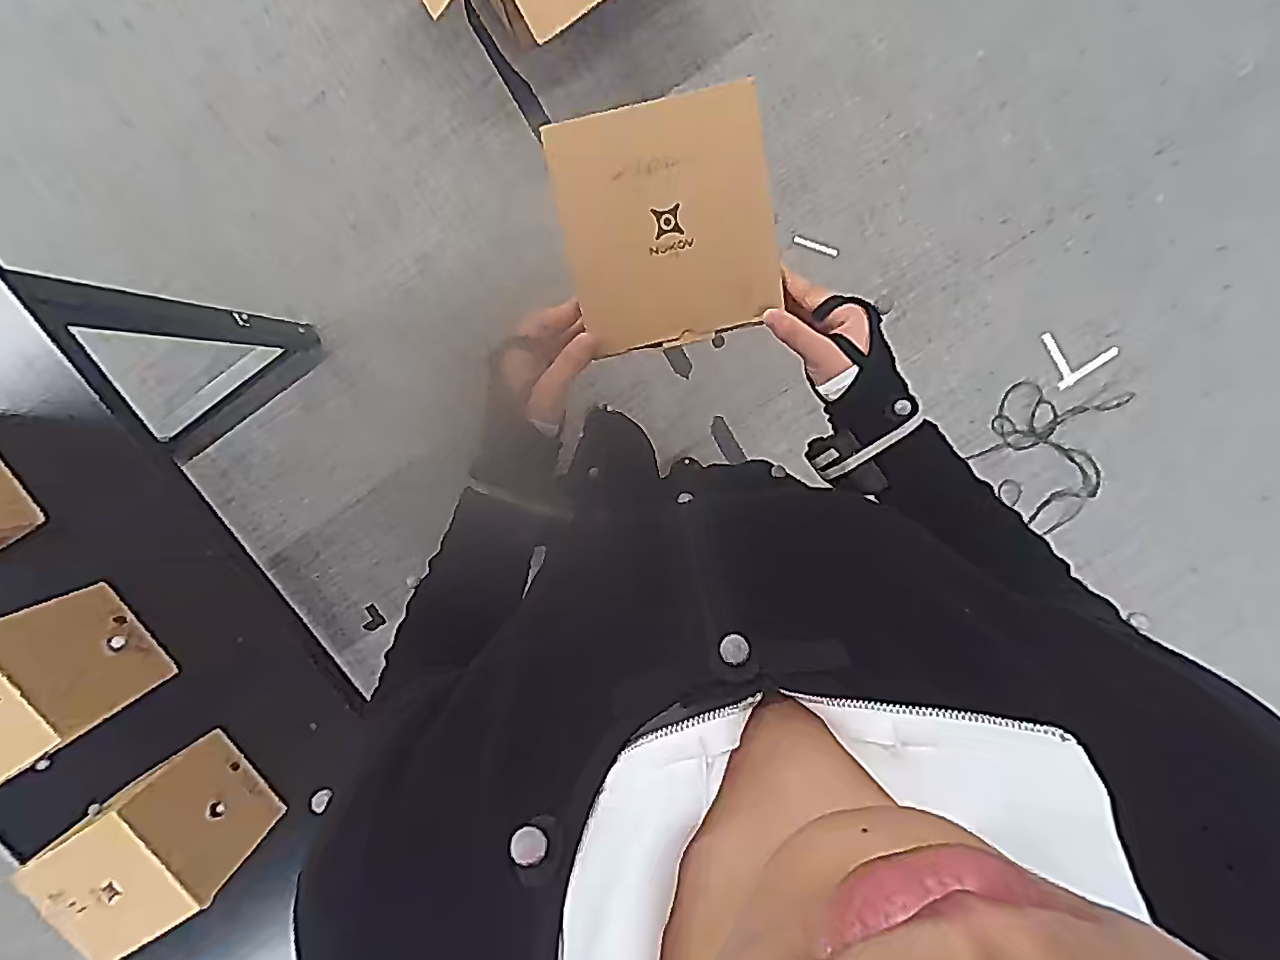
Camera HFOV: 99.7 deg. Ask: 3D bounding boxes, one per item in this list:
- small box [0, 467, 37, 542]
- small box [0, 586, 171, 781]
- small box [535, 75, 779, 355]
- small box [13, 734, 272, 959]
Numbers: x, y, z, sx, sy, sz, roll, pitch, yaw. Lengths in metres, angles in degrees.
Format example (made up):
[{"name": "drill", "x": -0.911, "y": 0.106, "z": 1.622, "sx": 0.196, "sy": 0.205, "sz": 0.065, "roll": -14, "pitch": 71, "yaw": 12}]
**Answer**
[{"name": "small box", "x": -0.943, "y": 0.035, "z": 0.672, "sx": 0.168, "sy": 0.176, "sz": 0.179, "roll": -30, "pitch": 99, "yaw": 5}, {"name": "small box", "x": -0.793, "y": 0.270, "z": 0.711, "sx": 0.179, "sy": 0.176, "sz": 0.168, "roll": -32, "pitch": 98, "yaw": 5}, {"name": "small box", "x": 0.016, "y": -0.222, "z": 0.499, "sx": 0.168, "sy": 0.176, "sz": 0.179, "roll": -13, "pitch": 104, "yaw": 1}, {"name": "small box", "x": -0.658, "y": 0.495, "z": 0.748, "sx": 0.179, "sy": 0.176, "sz": 0.168, "roll": -32, "pitch": 98, "yaw": 6}]
